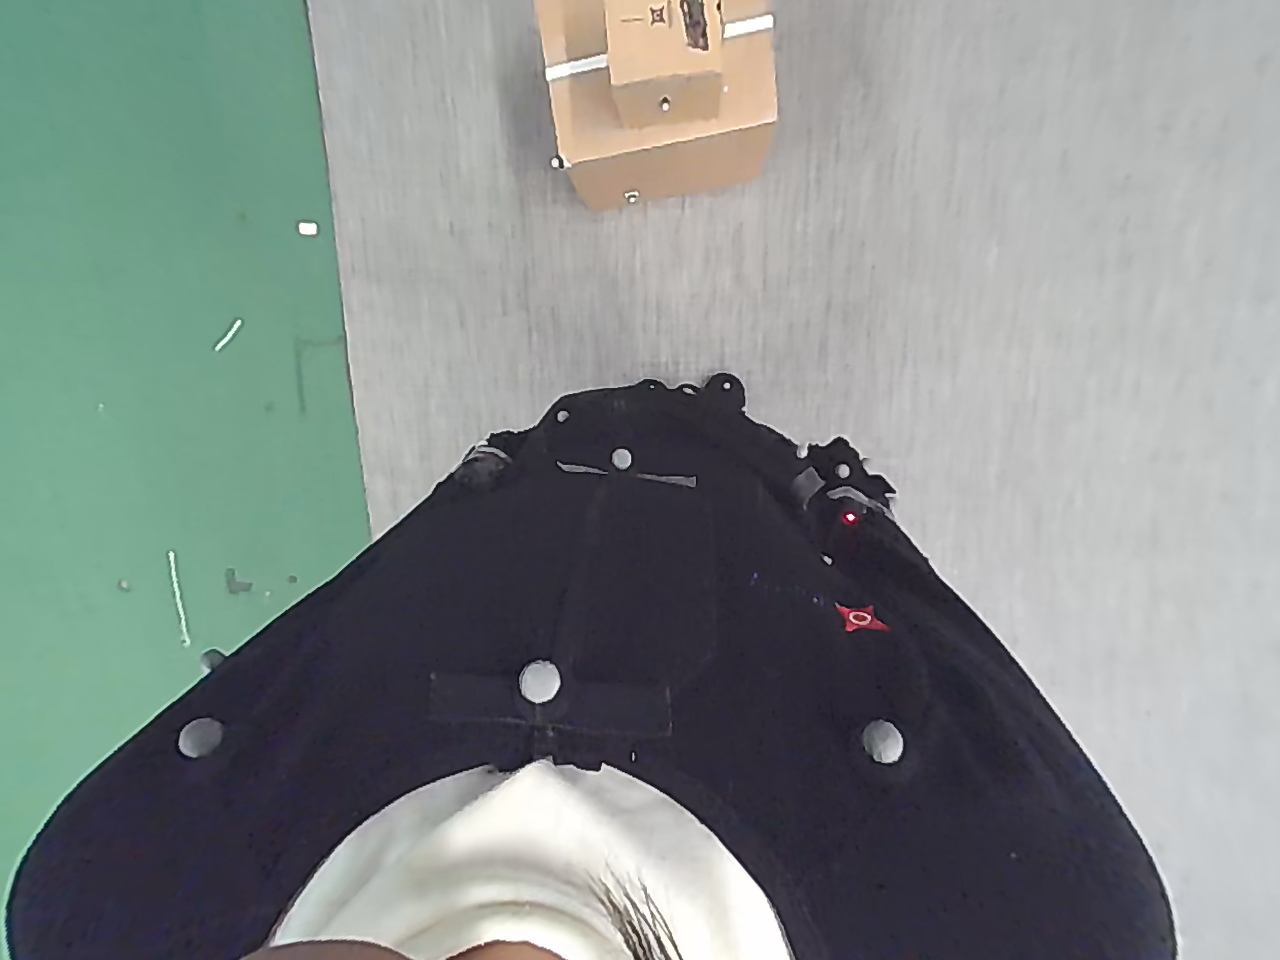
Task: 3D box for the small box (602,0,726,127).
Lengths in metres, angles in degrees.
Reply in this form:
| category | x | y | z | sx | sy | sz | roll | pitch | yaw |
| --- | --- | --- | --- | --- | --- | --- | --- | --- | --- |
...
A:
| category | x | y | z | sx | sy | sz | roll | pitch | yaw |
| --- | --- | --- | --- | --- | --- | --- | --- | --- | --- |
| small box | 0.038 | -0.705 | 0.875 | 0.179 | 0.176 | 0.168 | -6 | 103 | 6 |
